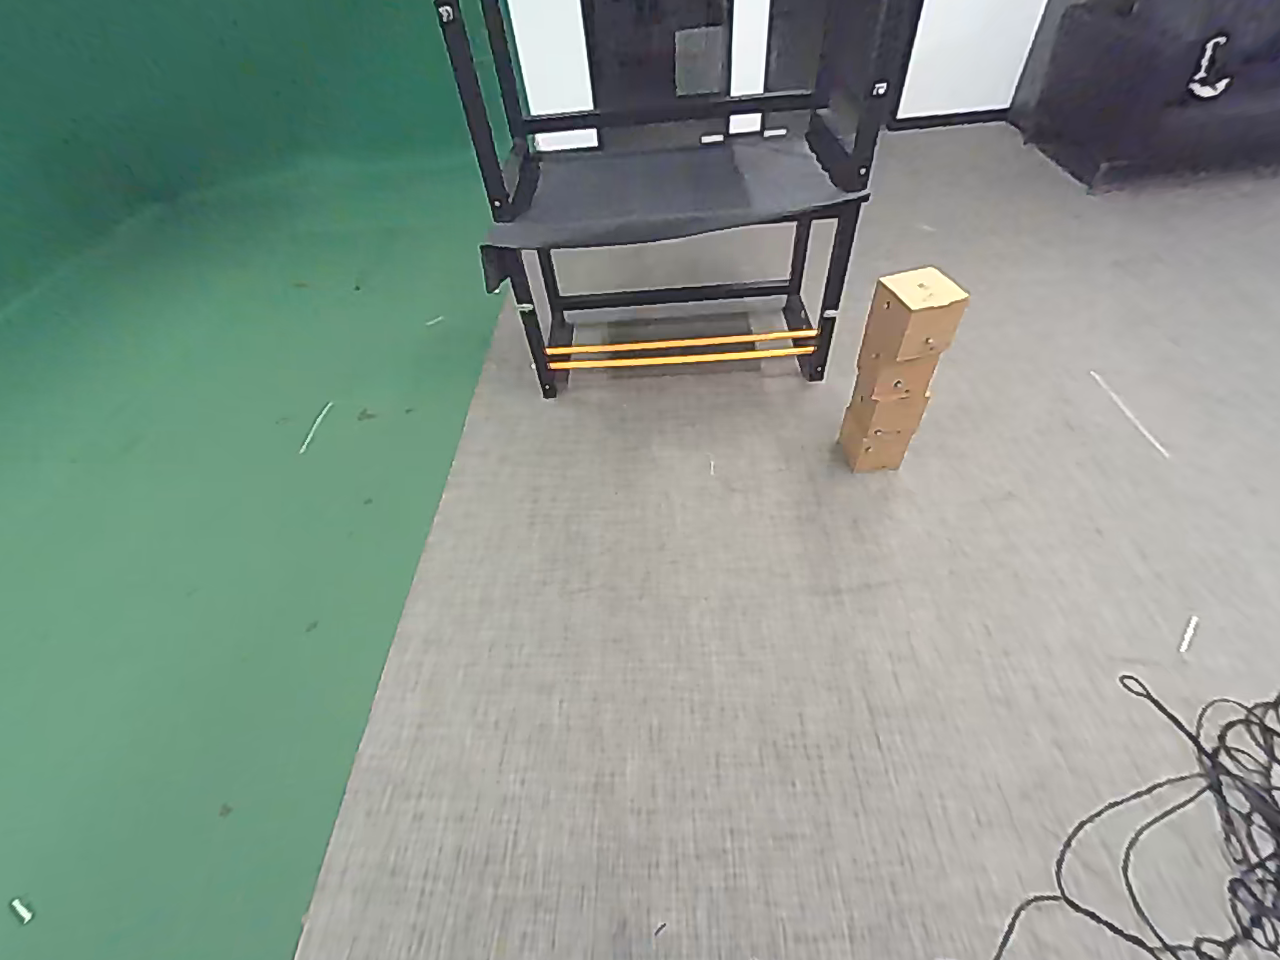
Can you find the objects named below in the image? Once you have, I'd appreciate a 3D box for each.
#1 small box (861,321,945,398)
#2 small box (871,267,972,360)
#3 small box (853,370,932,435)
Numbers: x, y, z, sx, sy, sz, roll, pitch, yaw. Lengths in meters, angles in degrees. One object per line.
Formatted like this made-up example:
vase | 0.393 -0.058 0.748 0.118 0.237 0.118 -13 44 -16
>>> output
small box | 0.788 -0.370 1.643 0.168 0.176 0.179 -4 49 4
small box | 0.772 -0.463 1.508 0.168 0.176 0.179 -13 50 -5
small box | 0.815 -0.259 1.760 0.168 0.176 0.179 -5 48 2
